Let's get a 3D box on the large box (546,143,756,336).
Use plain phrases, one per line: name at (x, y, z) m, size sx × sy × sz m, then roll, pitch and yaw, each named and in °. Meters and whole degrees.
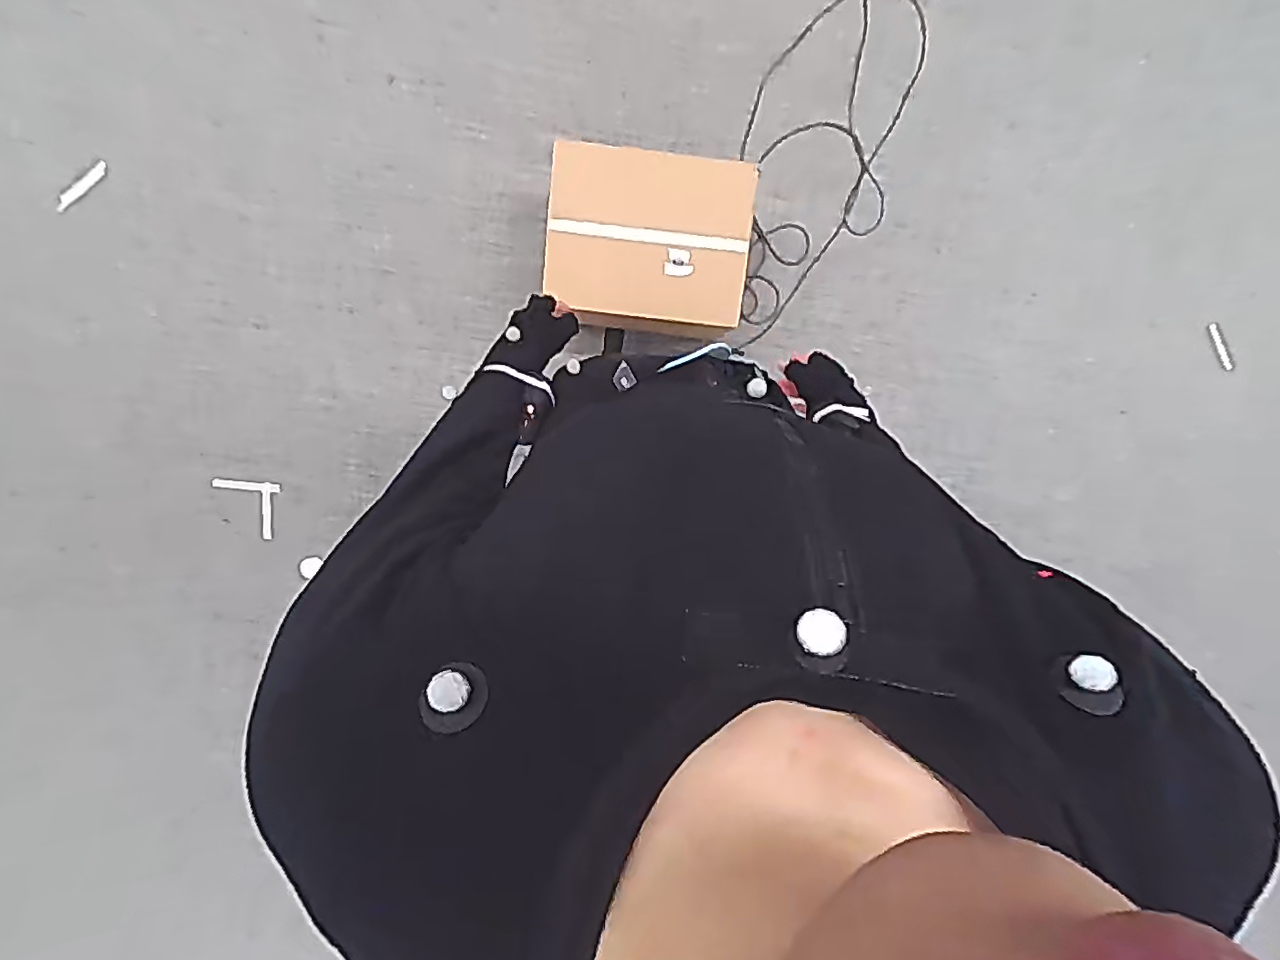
large box at (0.013, -0.517, 1.233) m, size 0.408 × 0.320 × 0.320 m, roll 6°, pitch 101°, yaw -2°
